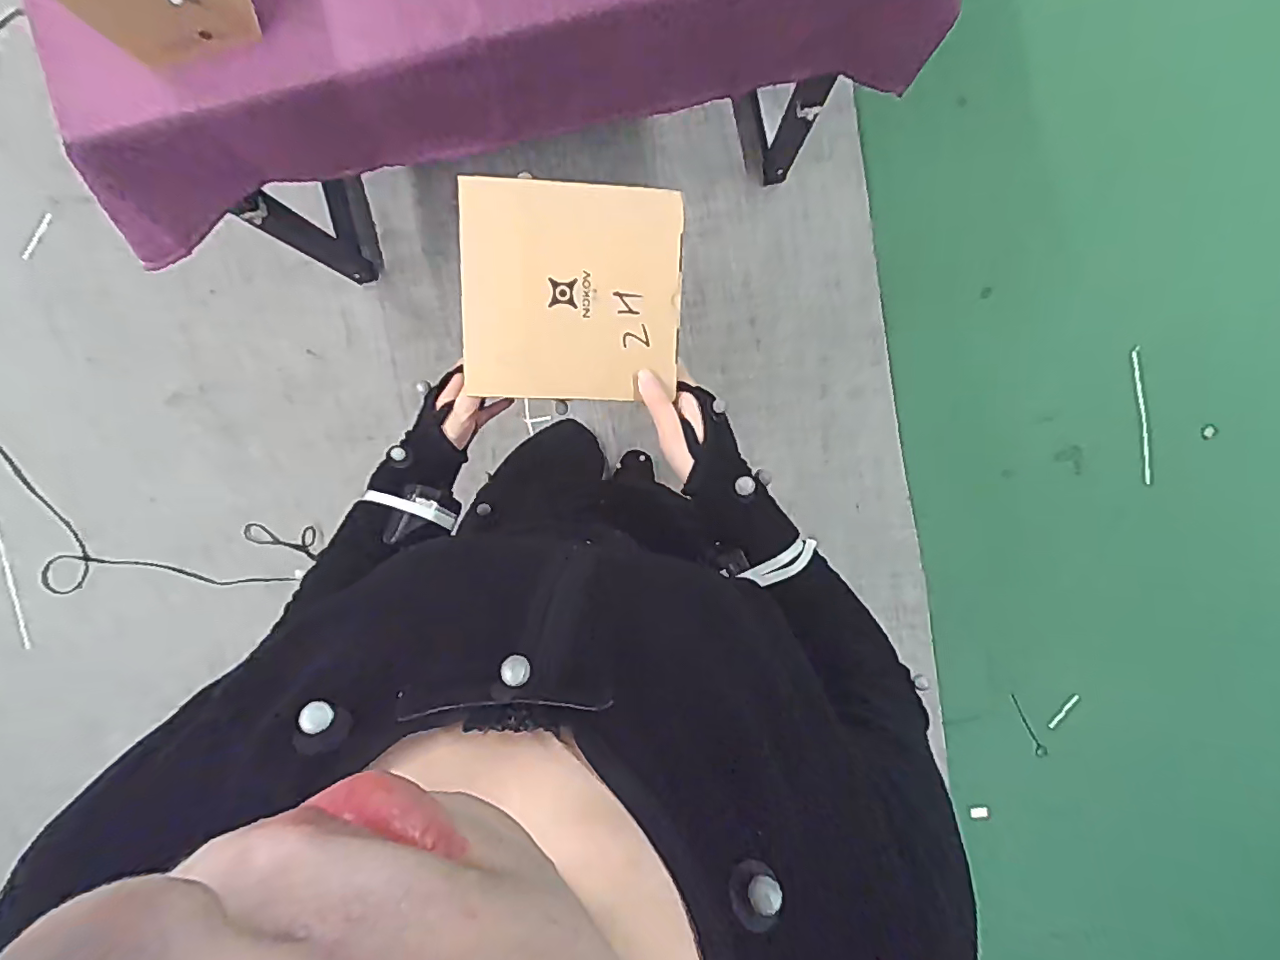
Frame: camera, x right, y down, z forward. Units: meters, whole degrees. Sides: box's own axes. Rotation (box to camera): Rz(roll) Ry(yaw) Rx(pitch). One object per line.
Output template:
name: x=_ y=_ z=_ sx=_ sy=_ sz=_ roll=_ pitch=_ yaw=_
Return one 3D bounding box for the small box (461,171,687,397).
small box: x=-0.061 y=-0.167 z=0.510 sx=0.179 sy=0.176 sz=0.168 roll=1 pitch=102 yaw=-7

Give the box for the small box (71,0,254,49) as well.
small box: x=-0.602 y=-0.653 z=0.633 sx=0.168 sy=0.176 sz=0.179 roll=-14 pitch=93 yaw=0
